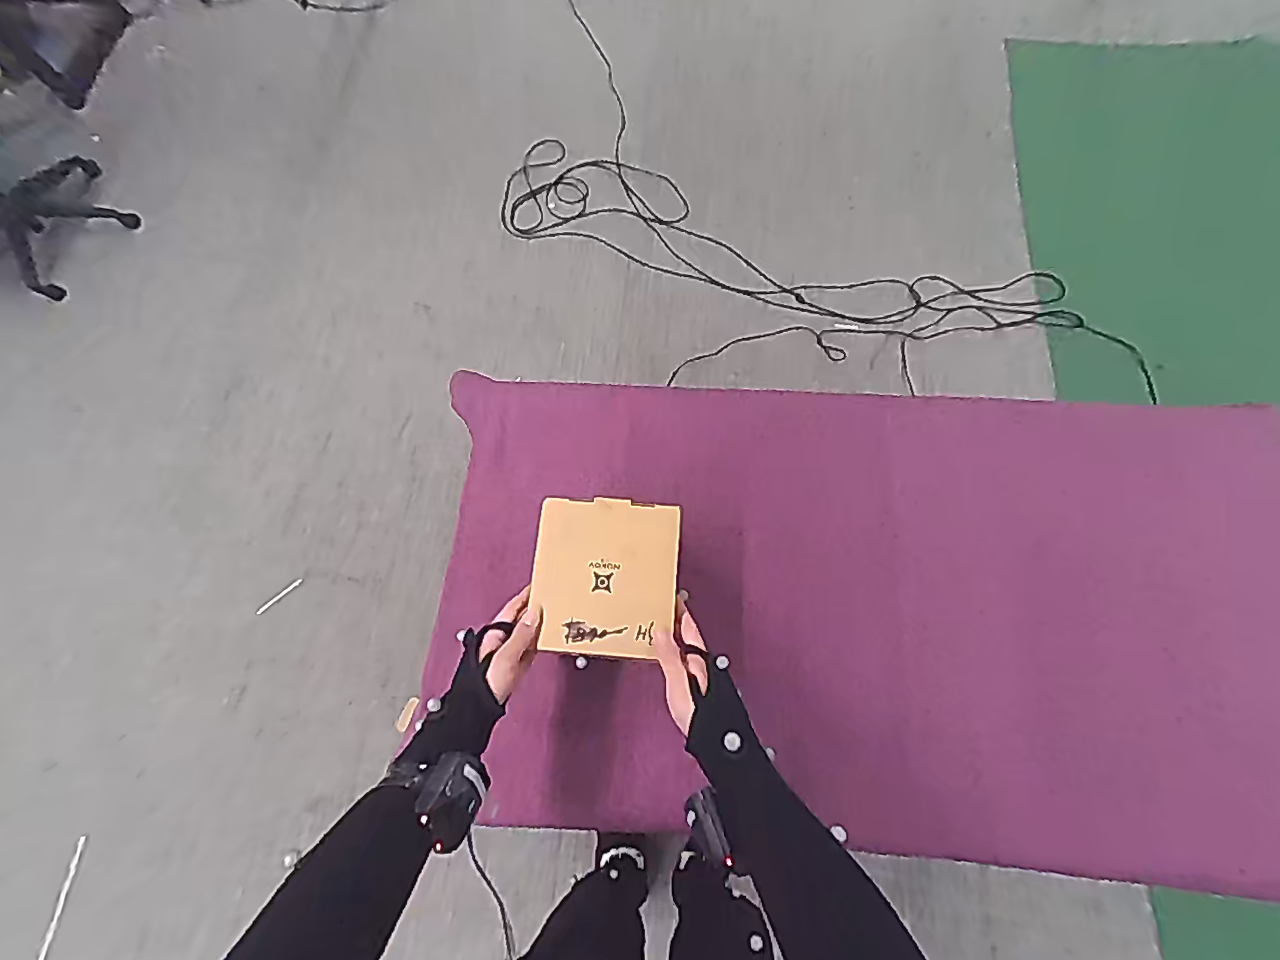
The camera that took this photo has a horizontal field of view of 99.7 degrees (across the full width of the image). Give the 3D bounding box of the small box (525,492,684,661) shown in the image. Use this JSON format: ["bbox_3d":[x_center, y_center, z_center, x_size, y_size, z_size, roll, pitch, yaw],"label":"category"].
[{"bbox_3d":[-0.035,0.129,0.689,0.168,0.176,0.179,4,70,4],"label":"small box"}]
